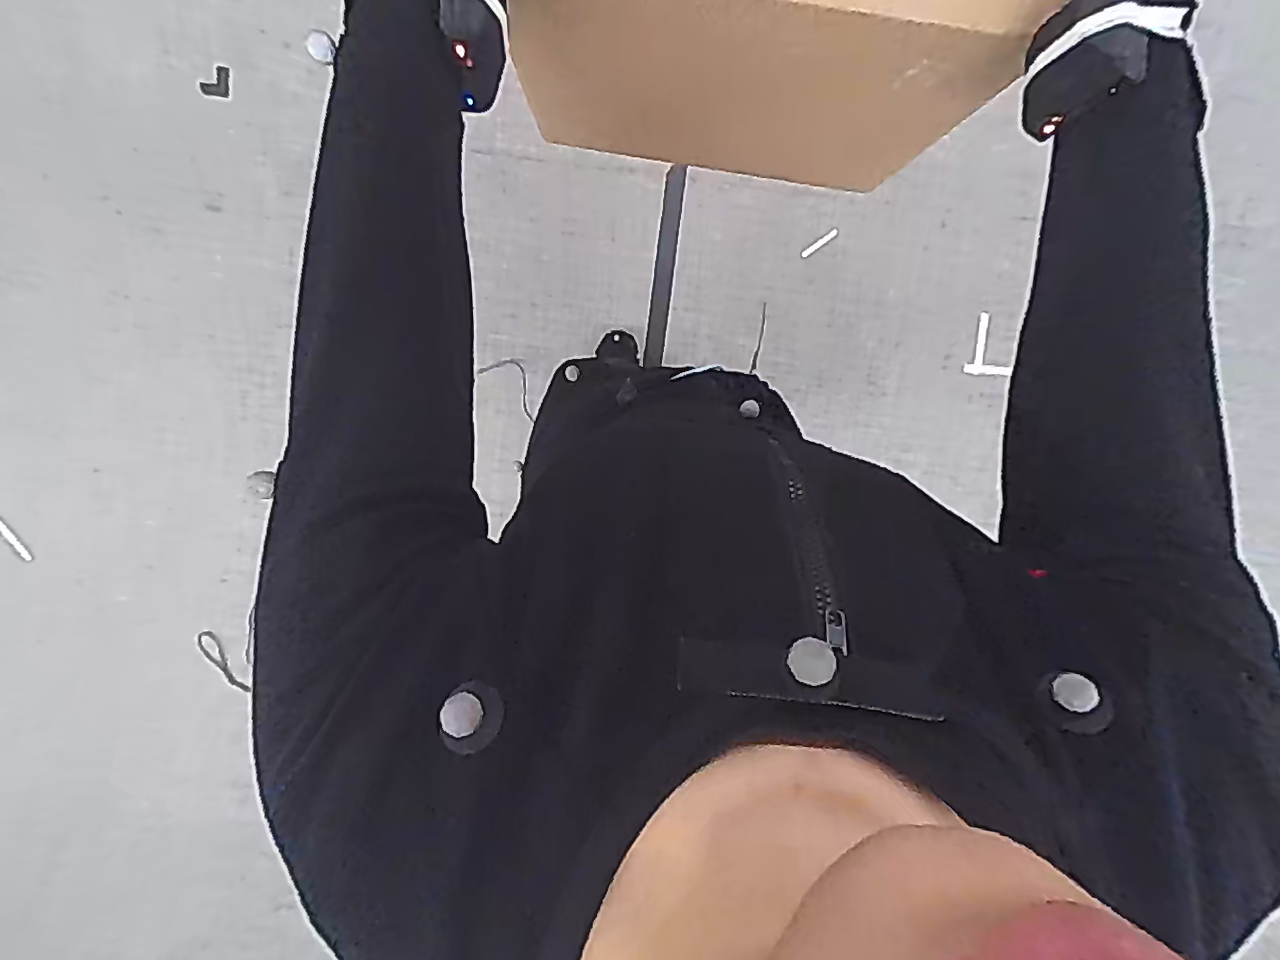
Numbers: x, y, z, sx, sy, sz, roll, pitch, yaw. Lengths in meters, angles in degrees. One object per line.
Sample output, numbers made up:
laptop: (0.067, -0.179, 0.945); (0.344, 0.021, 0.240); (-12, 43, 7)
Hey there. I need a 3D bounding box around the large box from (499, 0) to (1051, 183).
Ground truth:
large box: (0.101, -0.507, 0.489); (0.408, 0.320, 0.320); (7, 102, -3)
